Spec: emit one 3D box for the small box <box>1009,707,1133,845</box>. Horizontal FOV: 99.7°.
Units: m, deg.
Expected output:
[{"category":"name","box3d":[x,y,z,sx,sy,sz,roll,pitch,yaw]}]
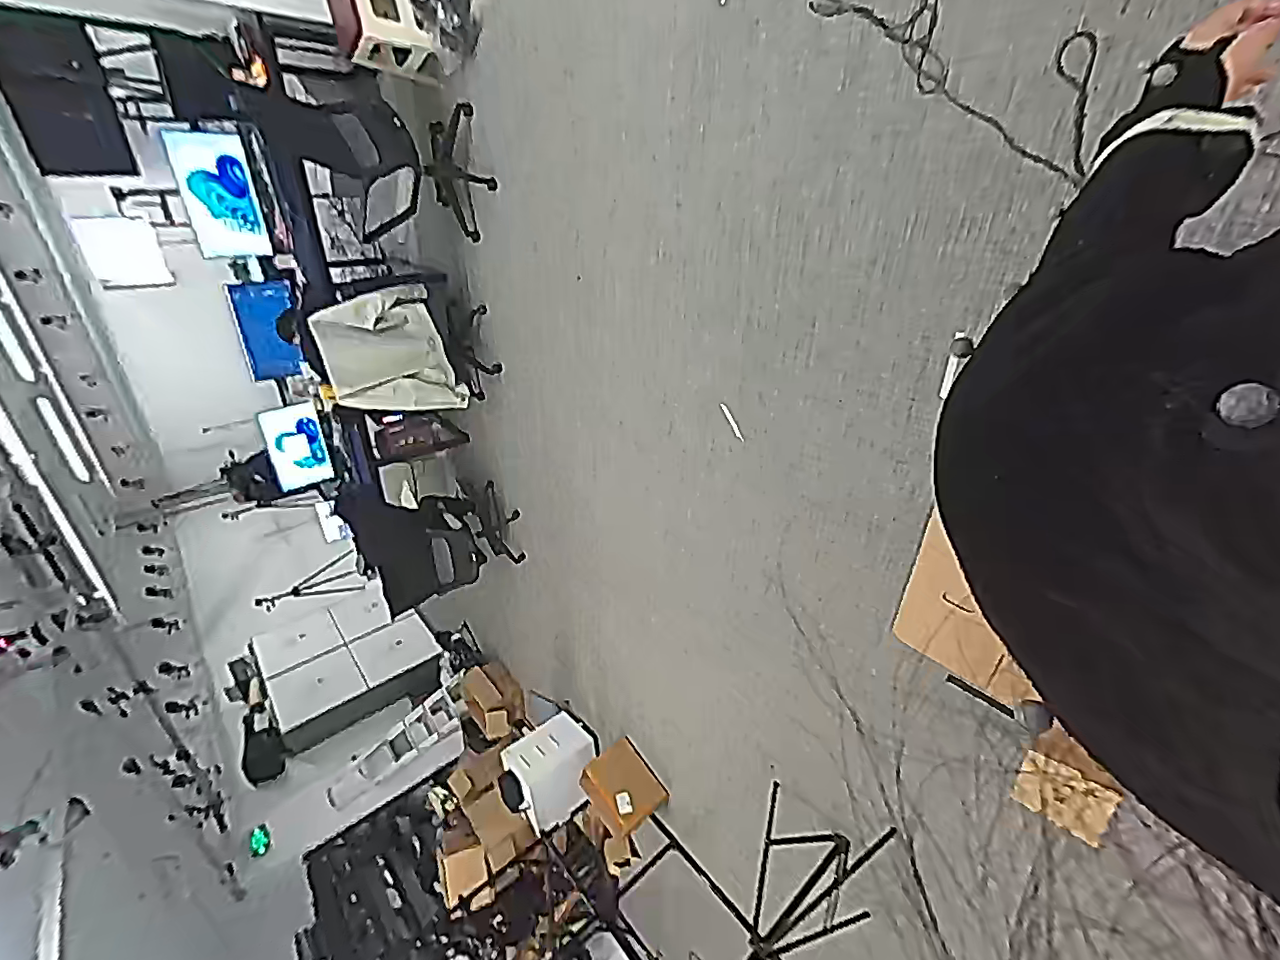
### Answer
[{"category":"small box","box3d":[0.985,0.667,1.236,0.168,0.176,0.179,24,126,43]}]
